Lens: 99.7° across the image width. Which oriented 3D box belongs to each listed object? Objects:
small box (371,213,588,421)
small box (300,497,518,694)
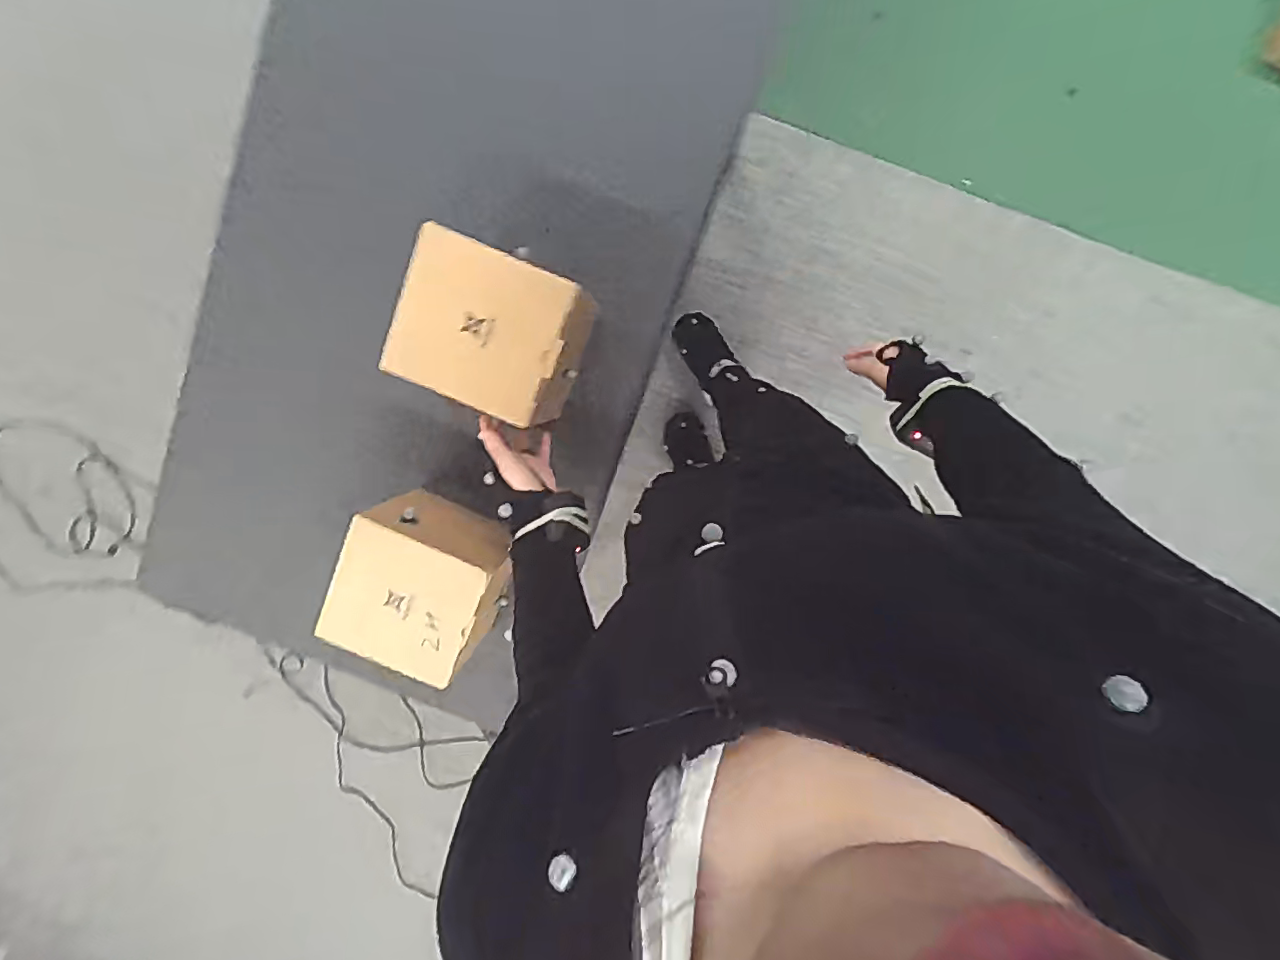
[{"bbox_3d":[-0.175,-0.179,0.643,0.179,0.176,0.168,22,99,-3],"label":"small box"},{"bbox_3d":[-0.281,0.132,0.695,0.179,0.176,0.168,23,100,-2],"label":"small box"}]
